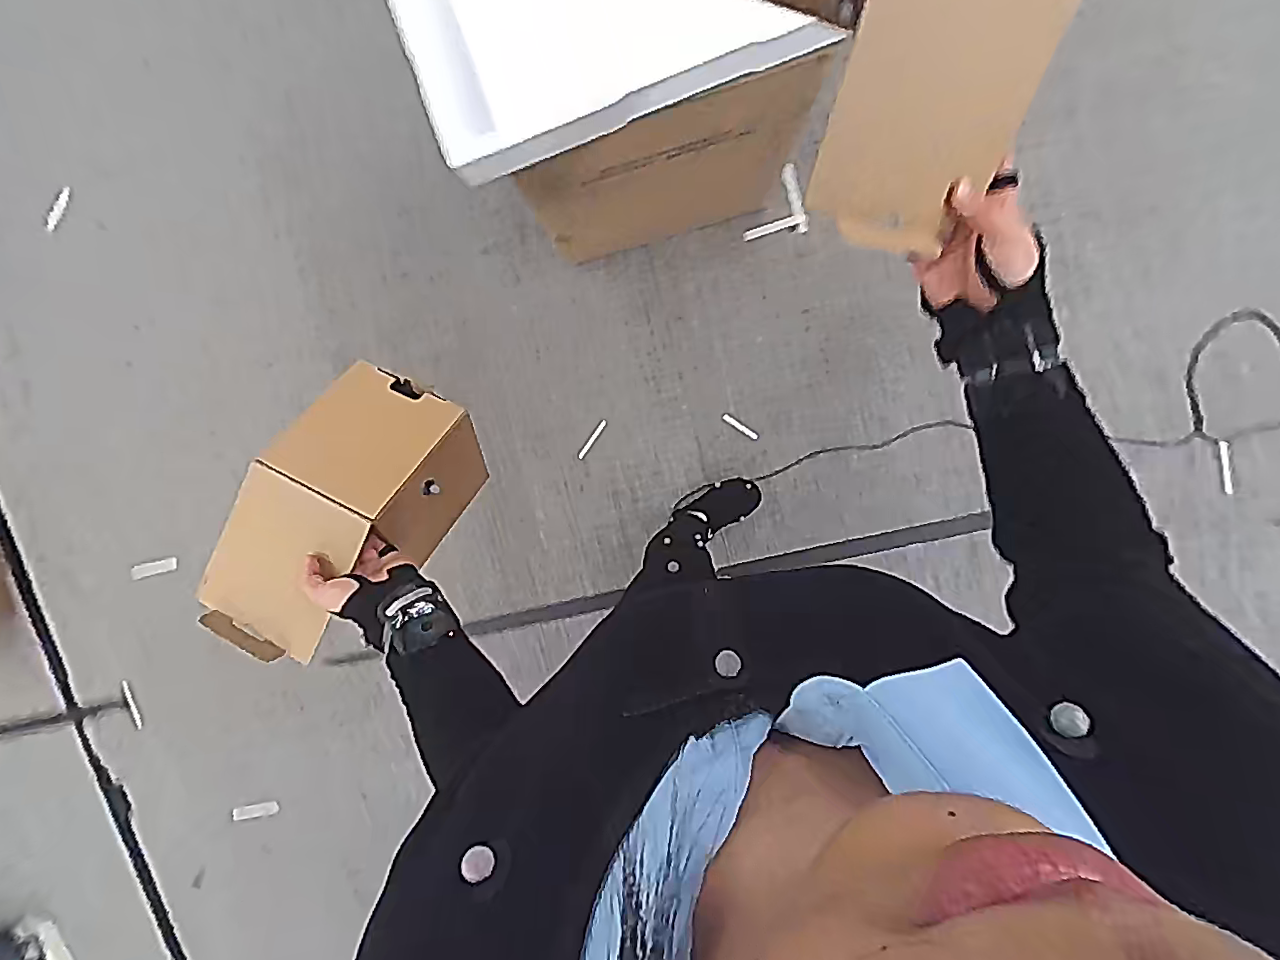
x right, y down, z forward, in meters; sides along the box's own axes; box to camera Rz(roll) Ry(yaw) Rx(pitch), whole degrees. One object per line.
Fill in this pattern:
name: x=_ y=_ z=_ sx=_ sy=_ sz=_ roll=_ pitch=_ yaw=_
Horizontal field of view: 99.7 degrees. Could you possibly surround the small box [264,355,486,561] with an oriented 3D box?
small box: x=-0.321 y=-0.021 z=0.703 sx=0.168 sy=0.176 sz=0.179 roll=26 pitch=61 yaw=9
